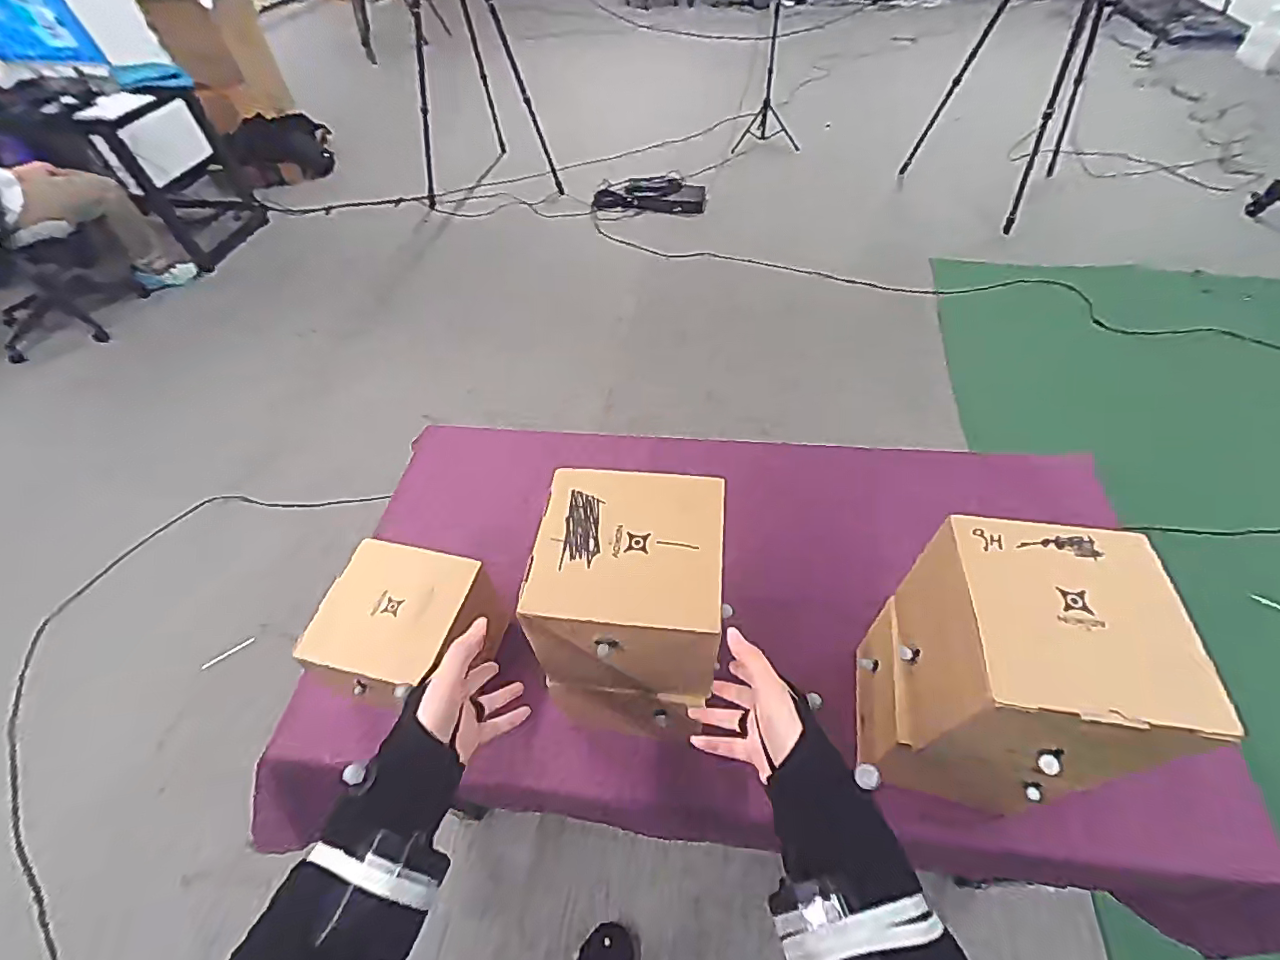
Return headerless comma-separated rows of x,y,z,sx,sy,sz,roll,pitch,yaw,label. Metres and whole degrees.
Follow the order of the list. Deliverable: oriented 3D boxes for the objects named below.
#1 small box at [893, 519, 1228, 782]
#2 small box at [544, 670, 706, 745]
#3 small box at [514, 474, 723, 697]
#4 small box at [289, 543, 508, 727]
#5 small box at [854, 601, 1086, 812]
0.351,0.161,0.501,0.168,0.176,0.179,7,53,8,small box
-0.002,0.222,0.687,0.179,0.176,0.168,6,51,9,small box
-0.009,0.112,0.563,0.179,0.176,0.168,4,51,6,small box
-0.301,0.209,0.718,0.179,0.176,0.168,10,53,11,small box
0.356,0.266,0.629,0.179,0.176,0.168,9,52,11,small box
